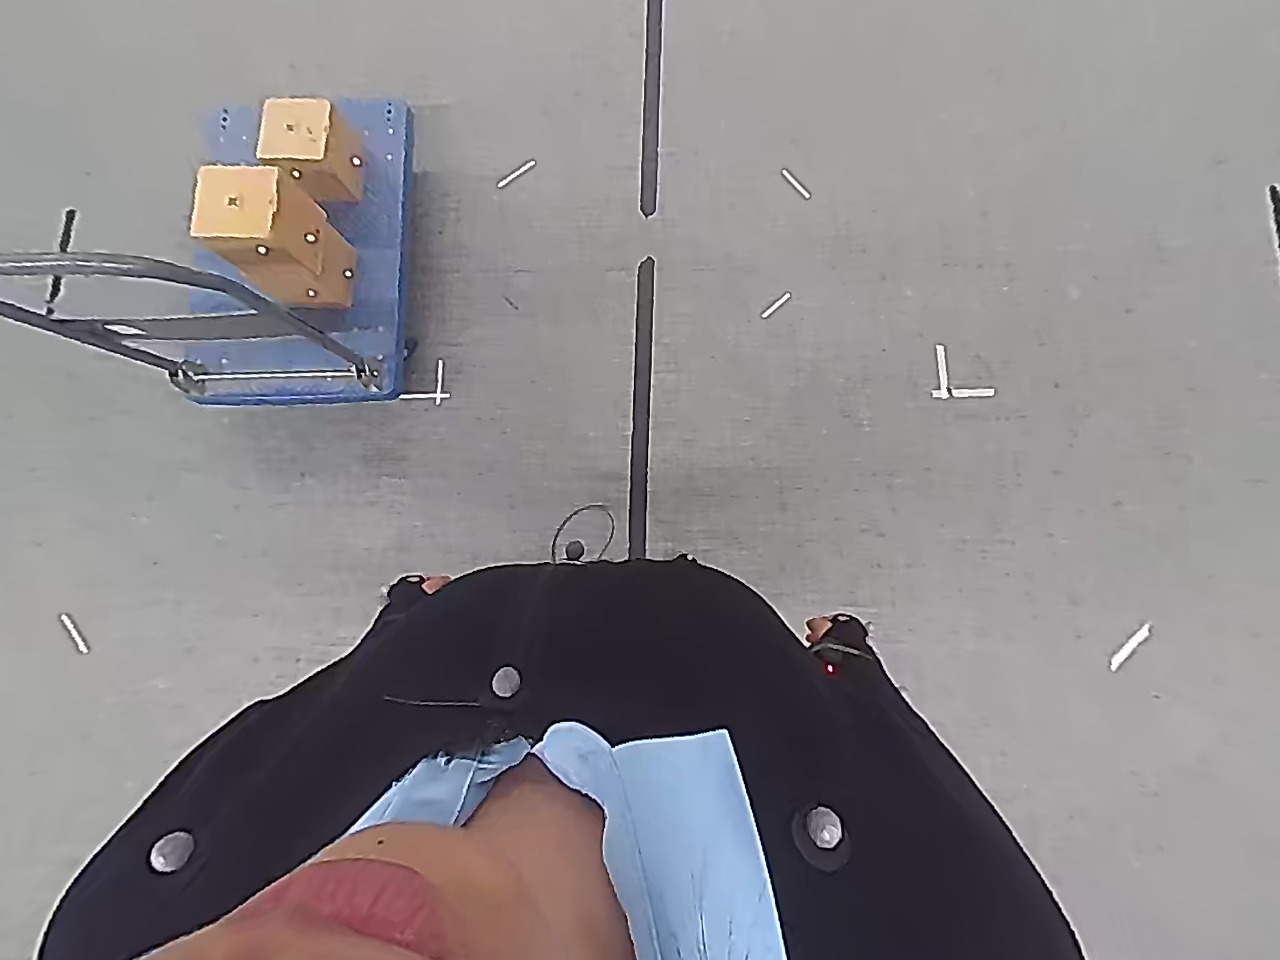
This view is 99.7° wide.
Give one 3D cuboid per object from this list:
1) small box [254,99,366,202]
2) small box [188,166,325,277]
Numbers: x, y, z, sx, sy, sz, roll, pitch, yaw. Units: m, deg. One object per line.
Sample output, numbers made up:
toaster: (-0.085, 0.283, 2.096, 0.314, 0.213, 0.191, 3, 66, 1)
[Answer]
small box: (-0.852, -0.853, 1.411, 0.179, 0.176, 0.168, 3, 83, 2)
small box: (-0.847, -0.570, 1.209, 0.179, 0.176, 0.168, 1, 82, 1)
